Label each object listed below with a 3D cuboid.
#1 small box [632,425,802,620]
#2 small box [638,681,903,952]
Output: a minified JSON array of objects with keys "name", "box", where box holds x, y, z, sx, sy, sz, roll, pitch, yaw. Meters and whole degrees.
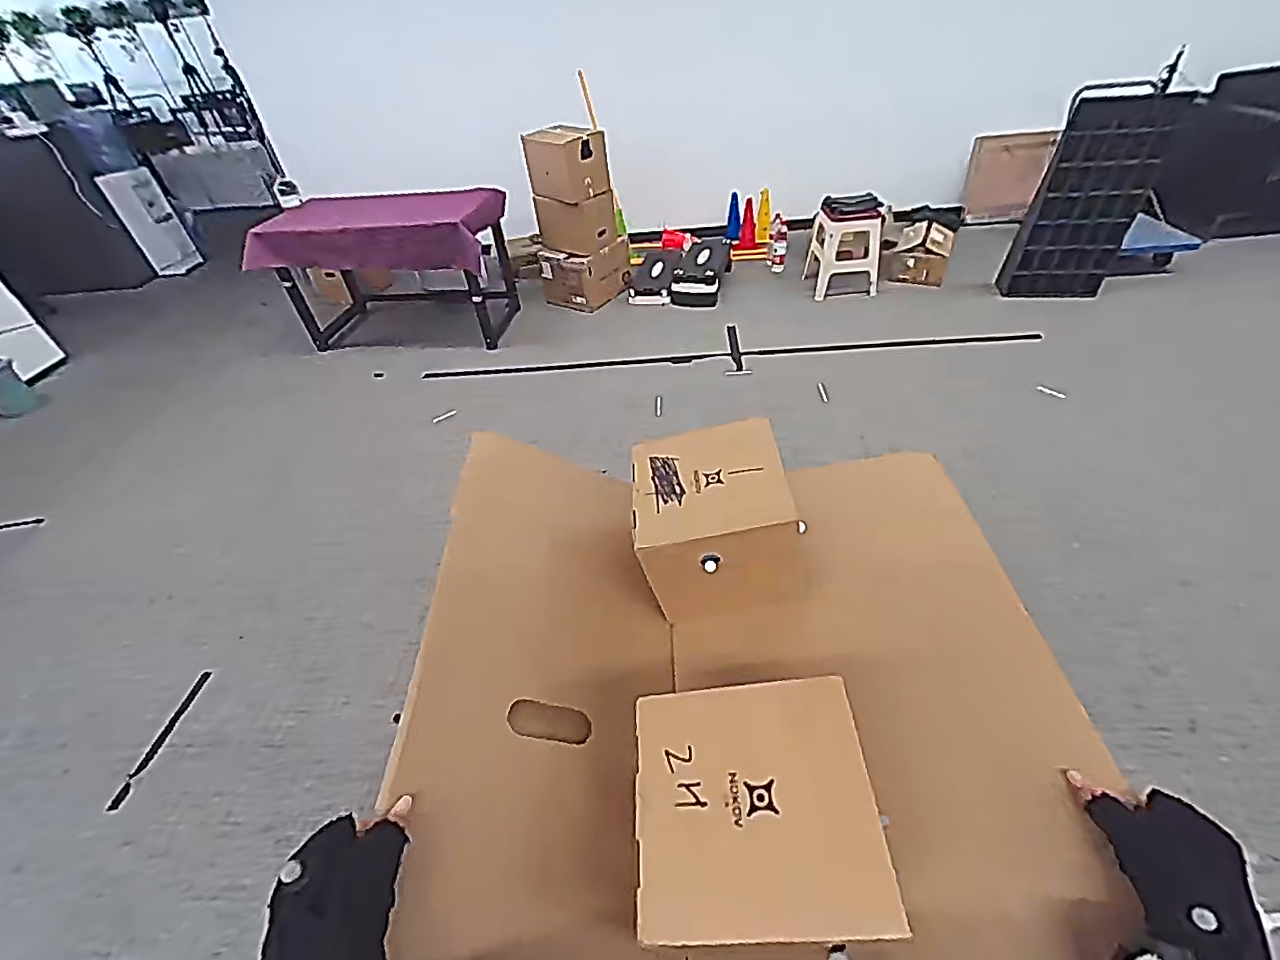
[{"name":"small box","box":[0.097,0.061,0.684,0.179,0.176,0.168,-12,46,10]},{"name":"small box","box":[0.103,0.292,0.465,0.179,0.176,0.168,-11,46,12]}]
